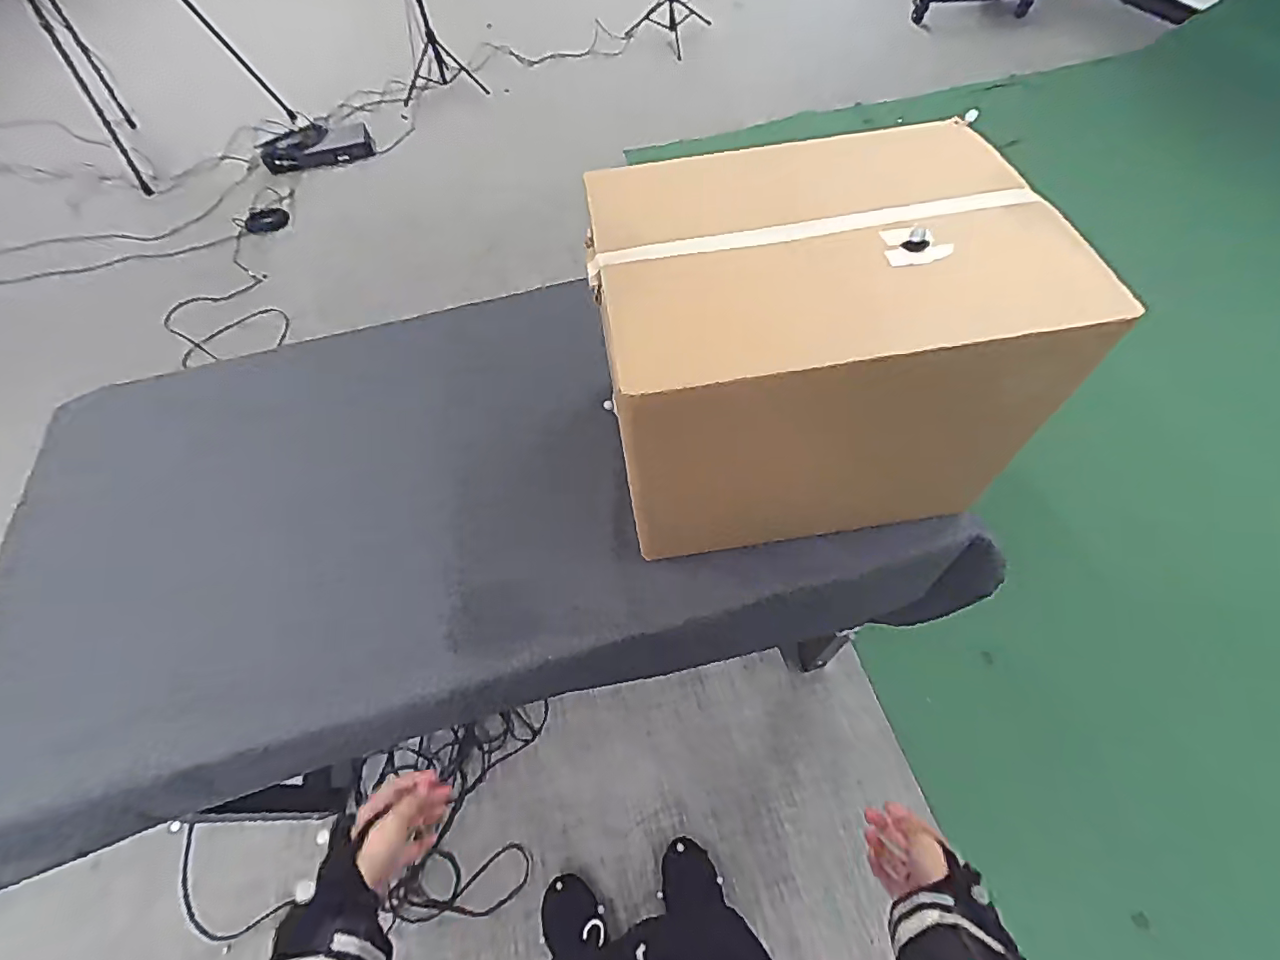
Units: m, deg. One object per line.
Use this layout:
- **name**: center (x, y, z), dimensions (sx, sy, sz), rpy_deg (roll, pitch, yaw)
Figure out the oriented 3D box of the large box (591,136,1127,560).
- **large box**: center (0.172, -0.136, 0.619), dimensions (0.408, 0.320, 0.320), rpy_deg (-9, 58, -2)
